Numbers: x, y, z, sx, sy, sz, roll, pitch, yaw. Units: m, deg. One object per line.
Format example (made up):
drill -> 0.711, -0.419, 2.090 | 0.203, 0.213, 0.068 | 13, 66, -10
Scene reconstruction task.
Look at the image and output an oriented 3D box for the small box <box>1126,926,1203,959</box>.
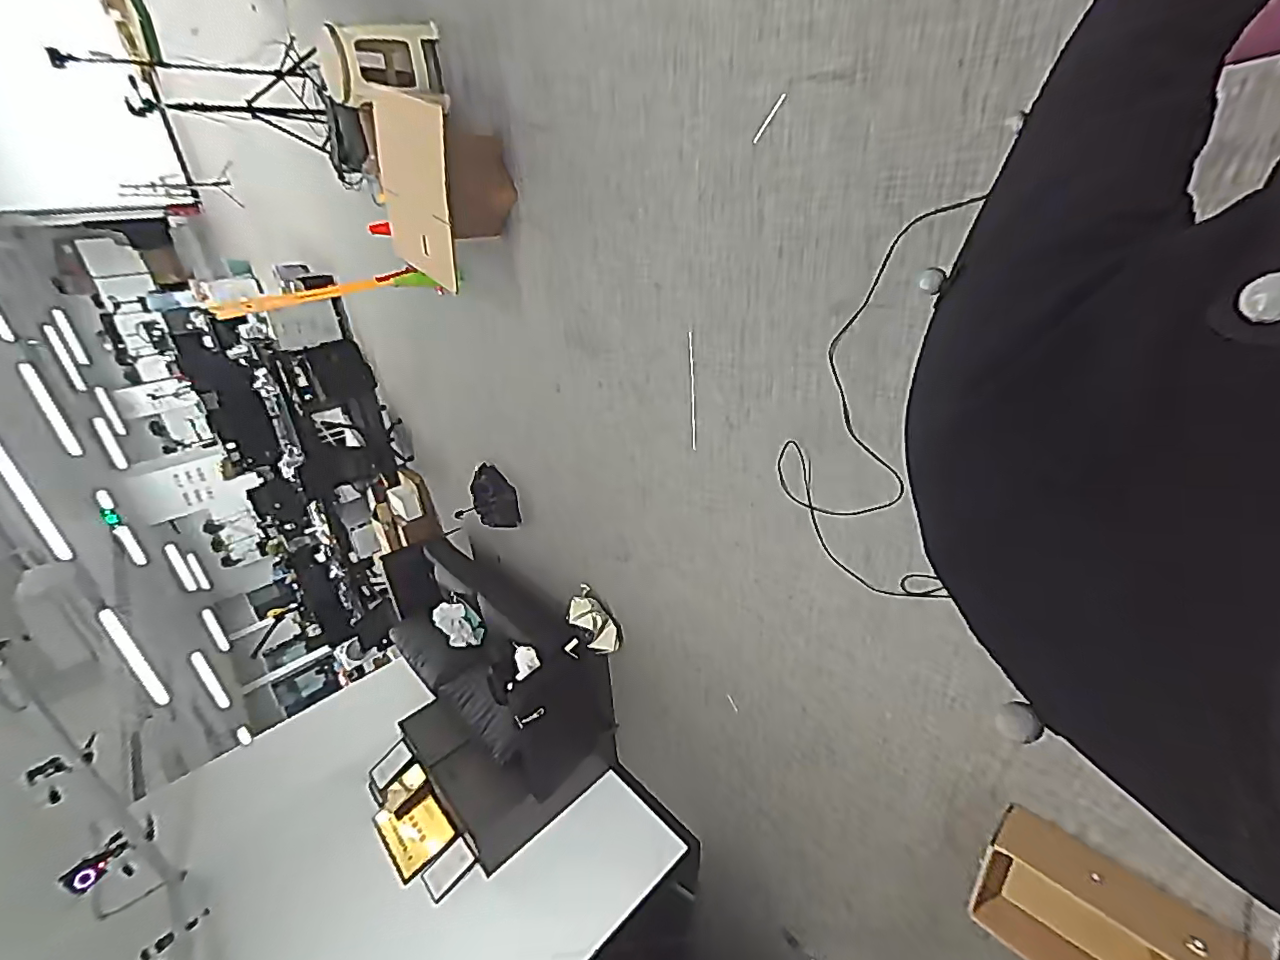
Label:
small box -> 1.392, 1.342, 1.417 | 0.168, 0.176, 0.179 | 24, 129, 42
